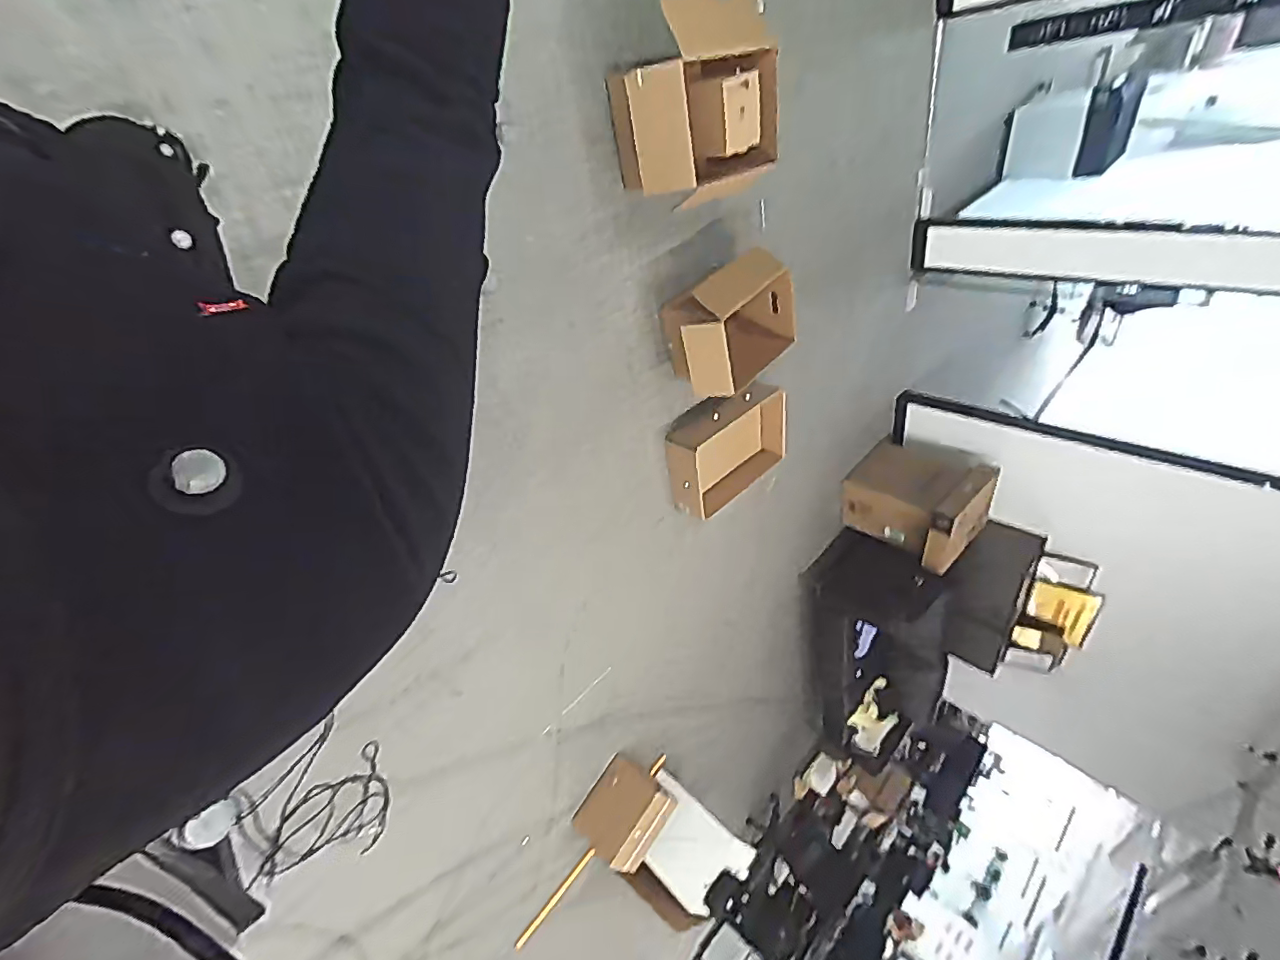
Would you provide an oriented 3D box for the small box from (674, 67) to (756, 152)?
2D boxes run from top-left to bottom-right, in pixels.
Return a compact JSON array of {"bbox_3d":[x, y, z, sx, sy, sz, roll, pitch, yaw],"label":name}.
[{"bbox_3d":[0.215,-1.063,1.552,0.168,0.176,0.179,-39,137,-30],"label":"small box"}]
